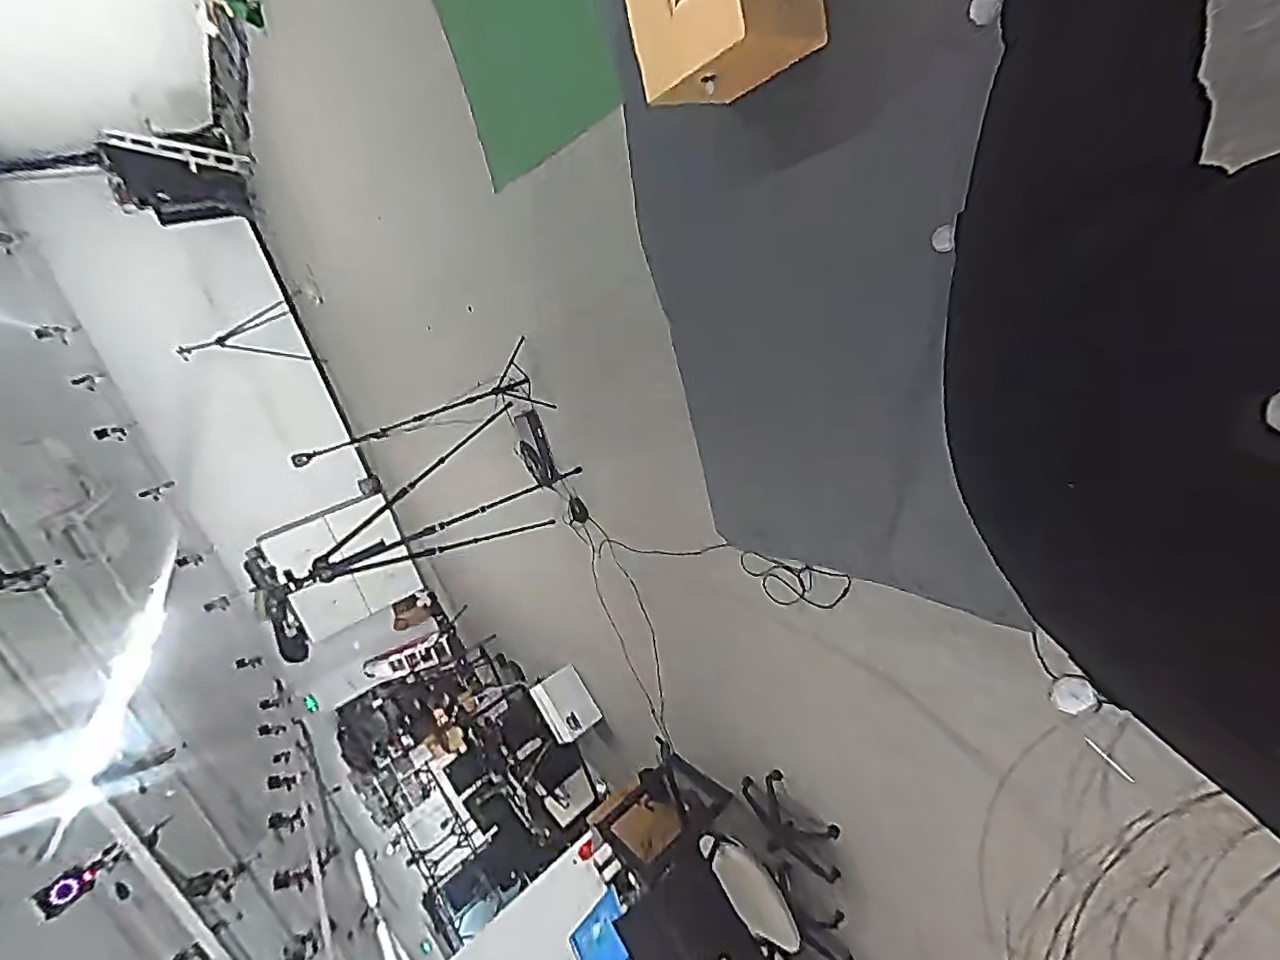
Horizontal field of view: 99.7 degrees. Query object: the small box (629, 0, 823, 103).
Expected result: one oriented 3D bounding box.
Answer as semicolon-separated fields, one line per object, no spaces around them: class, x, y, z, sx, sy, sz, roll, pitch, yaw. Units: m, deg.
small box;0.108;-0.604;0.674;0.179;0.176;0.168;11;123;53
